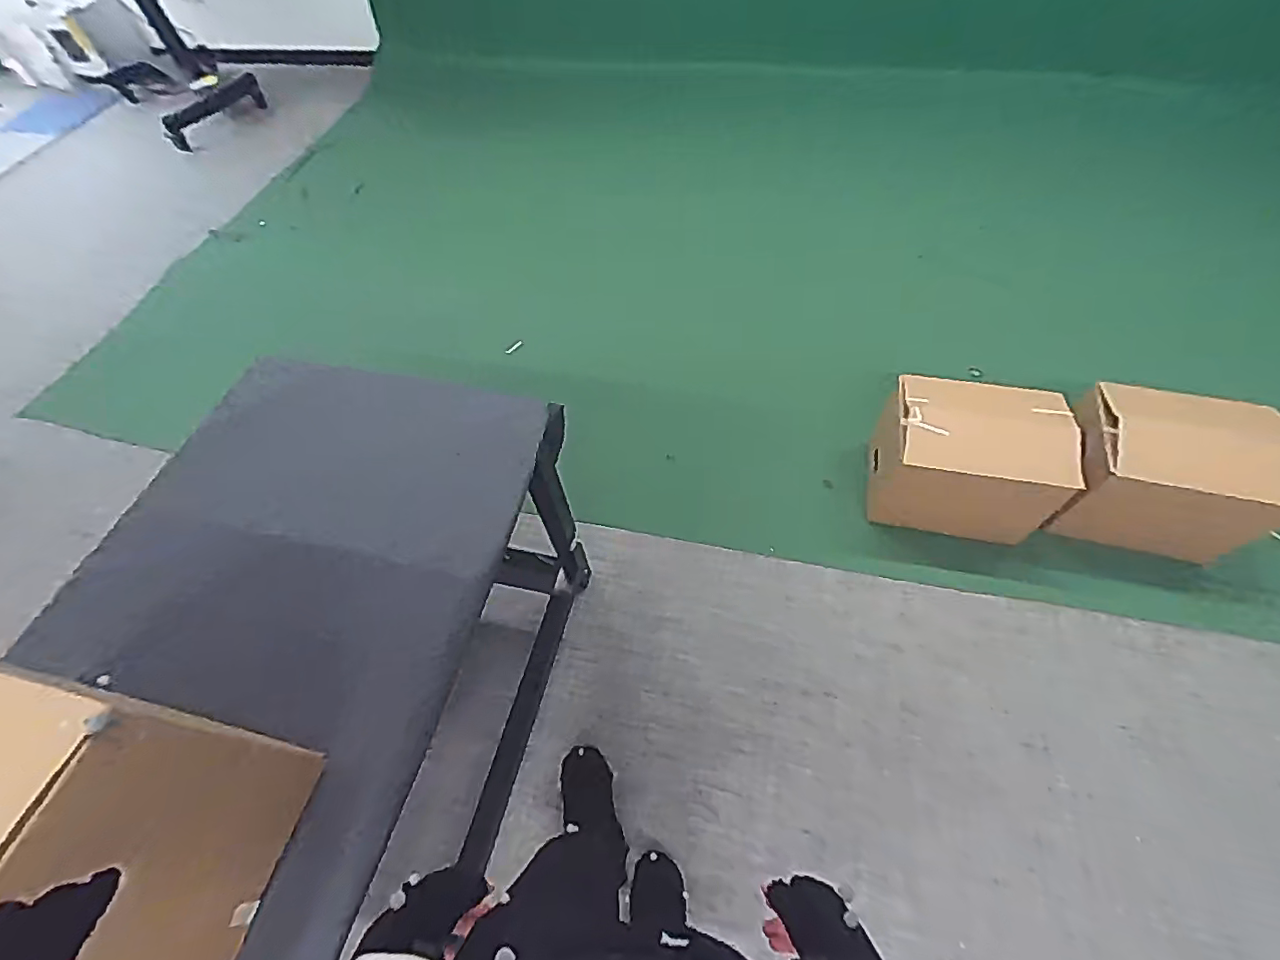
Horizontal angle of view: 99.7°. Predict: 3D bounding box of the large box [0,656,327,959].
[{"bbox_3d":[-0.615,0.346,0.499,0.408,0.320,0.320,9,59,9],"label":"large box"}]
